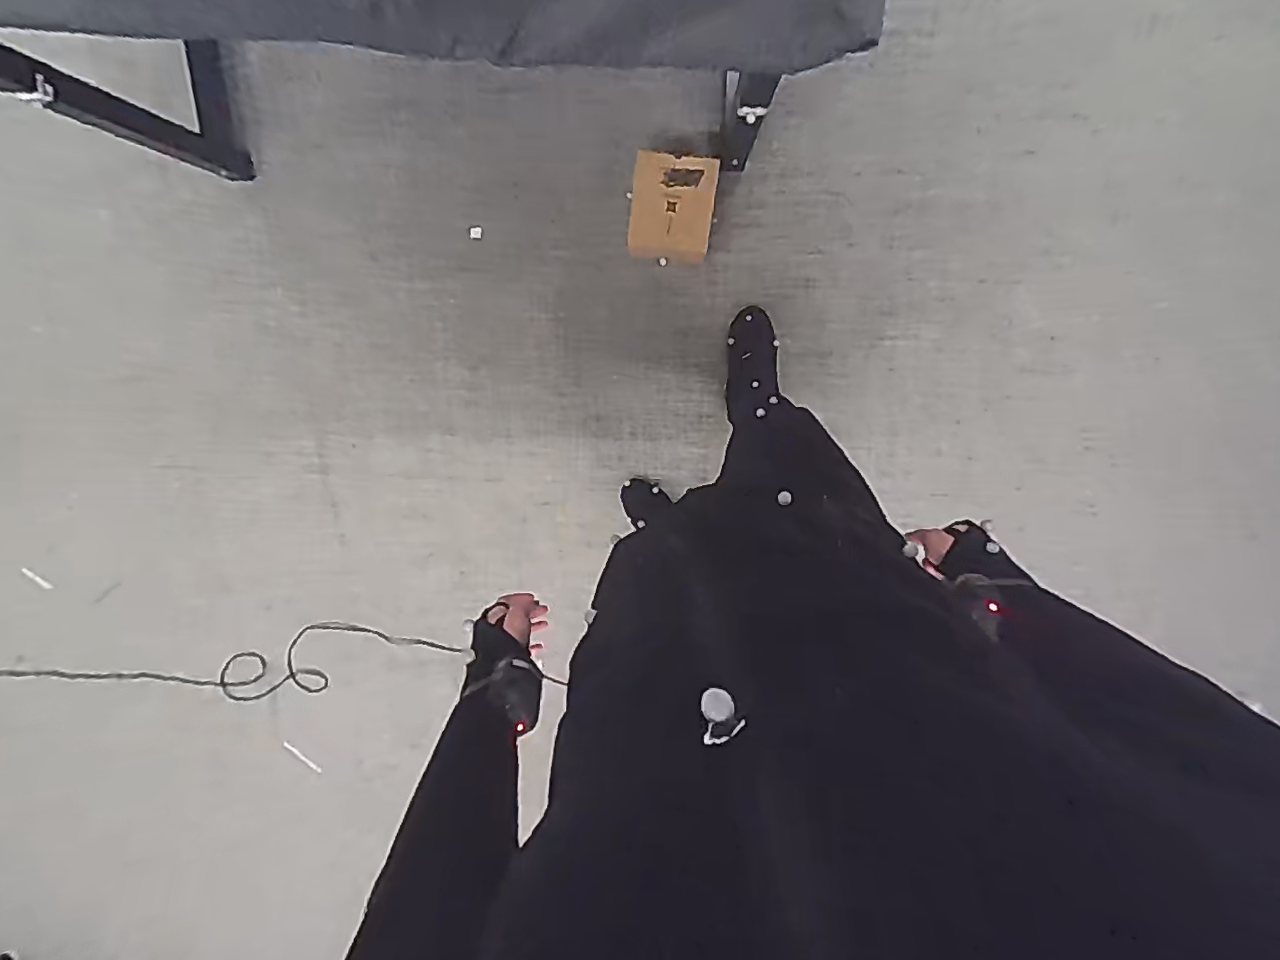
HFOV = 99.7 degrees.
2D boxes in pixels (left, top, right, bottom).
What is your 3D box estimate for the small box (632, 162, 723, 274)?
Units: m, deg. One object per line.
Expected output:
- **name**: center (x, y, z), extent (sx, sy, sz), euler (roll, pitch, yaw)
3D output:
- **small box**: center (0.077, -0.554, 1.163), extent (0.168, 0.176, 0.179), euler (7, 104, 3)
